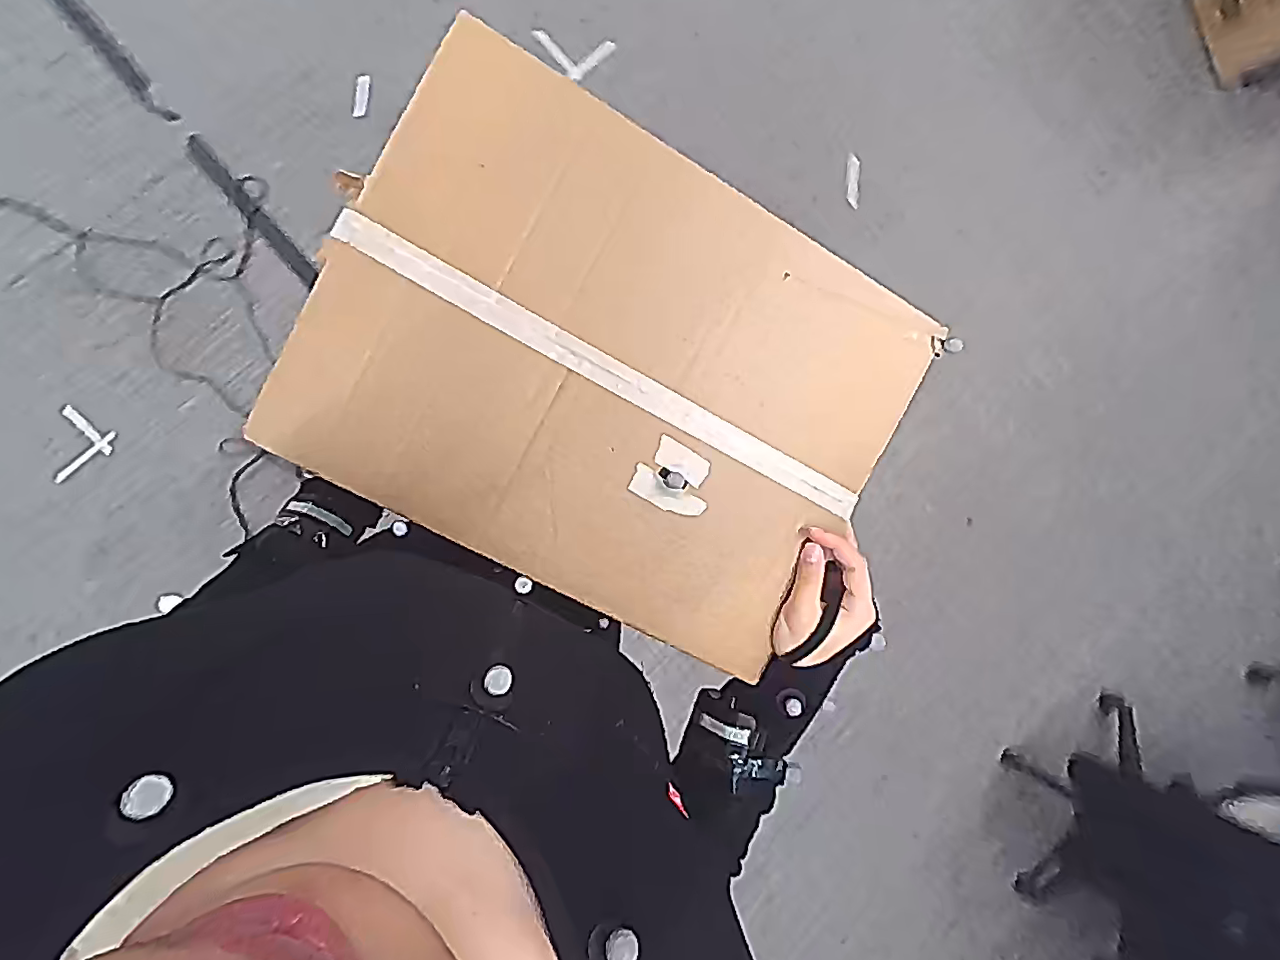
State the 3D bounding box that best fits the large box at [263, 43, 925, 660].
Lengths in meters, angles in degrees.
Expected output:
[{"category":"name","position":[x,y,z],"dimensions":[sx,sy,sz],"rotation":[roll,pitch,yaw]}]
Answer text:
[{"category":"large box","position":[-0.038,-0.087,0.539],"dimensions":[0.408,0.320,0.320],"rotation":[26,92,-10]}]
